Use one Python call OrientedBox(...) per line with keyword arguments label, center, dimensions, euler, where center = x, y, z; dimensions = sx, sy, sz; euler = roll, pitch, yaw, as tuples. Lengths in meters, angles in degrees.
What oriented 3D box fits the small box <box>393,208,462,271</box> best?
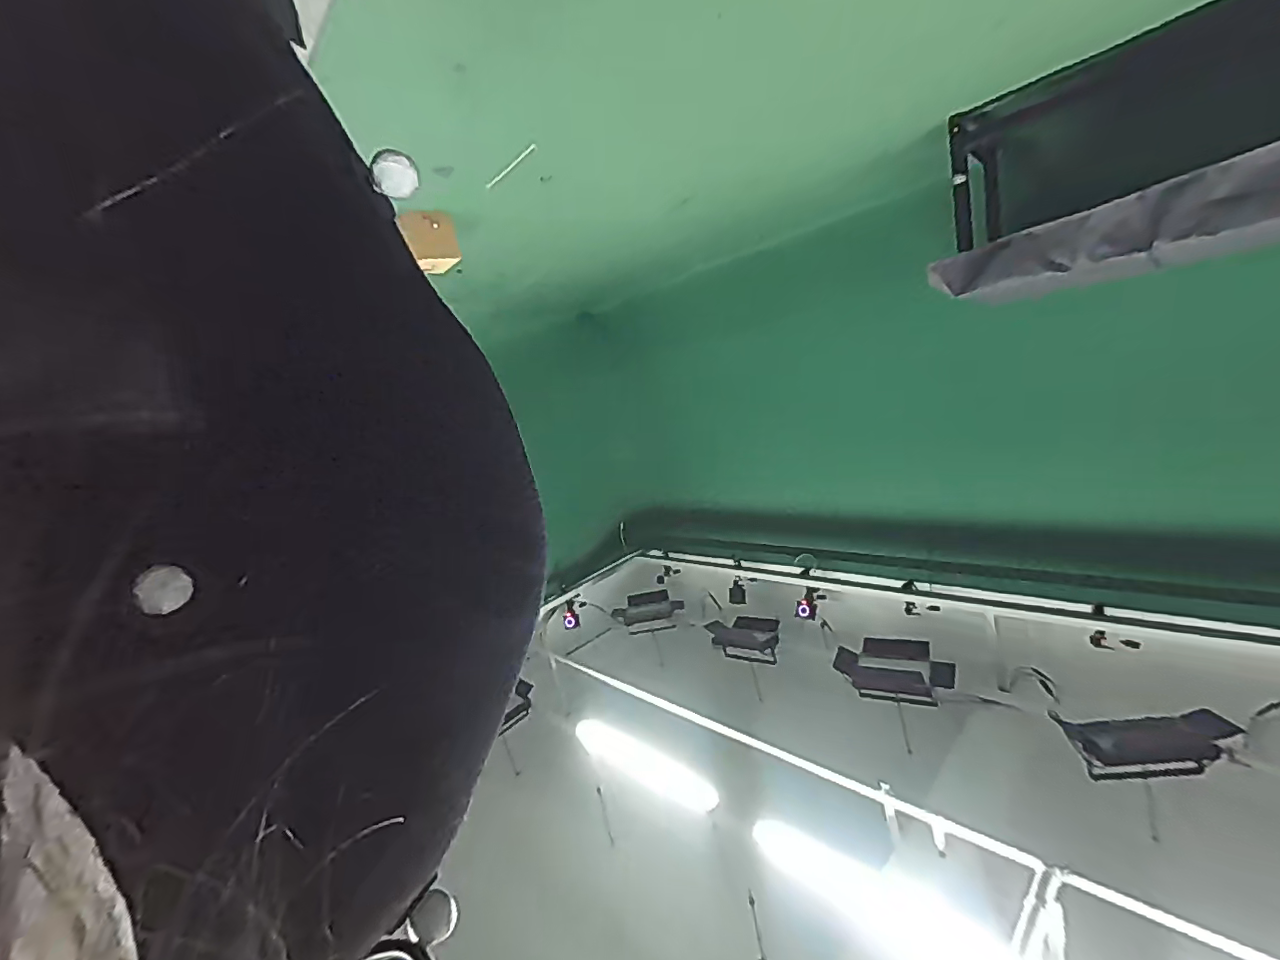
OrientedBox(label="small box", center=(-0.794, -0.890, 2.008), dimensions=(0.168, 0.176, 0.179), euler=(-24, -165, -41))
